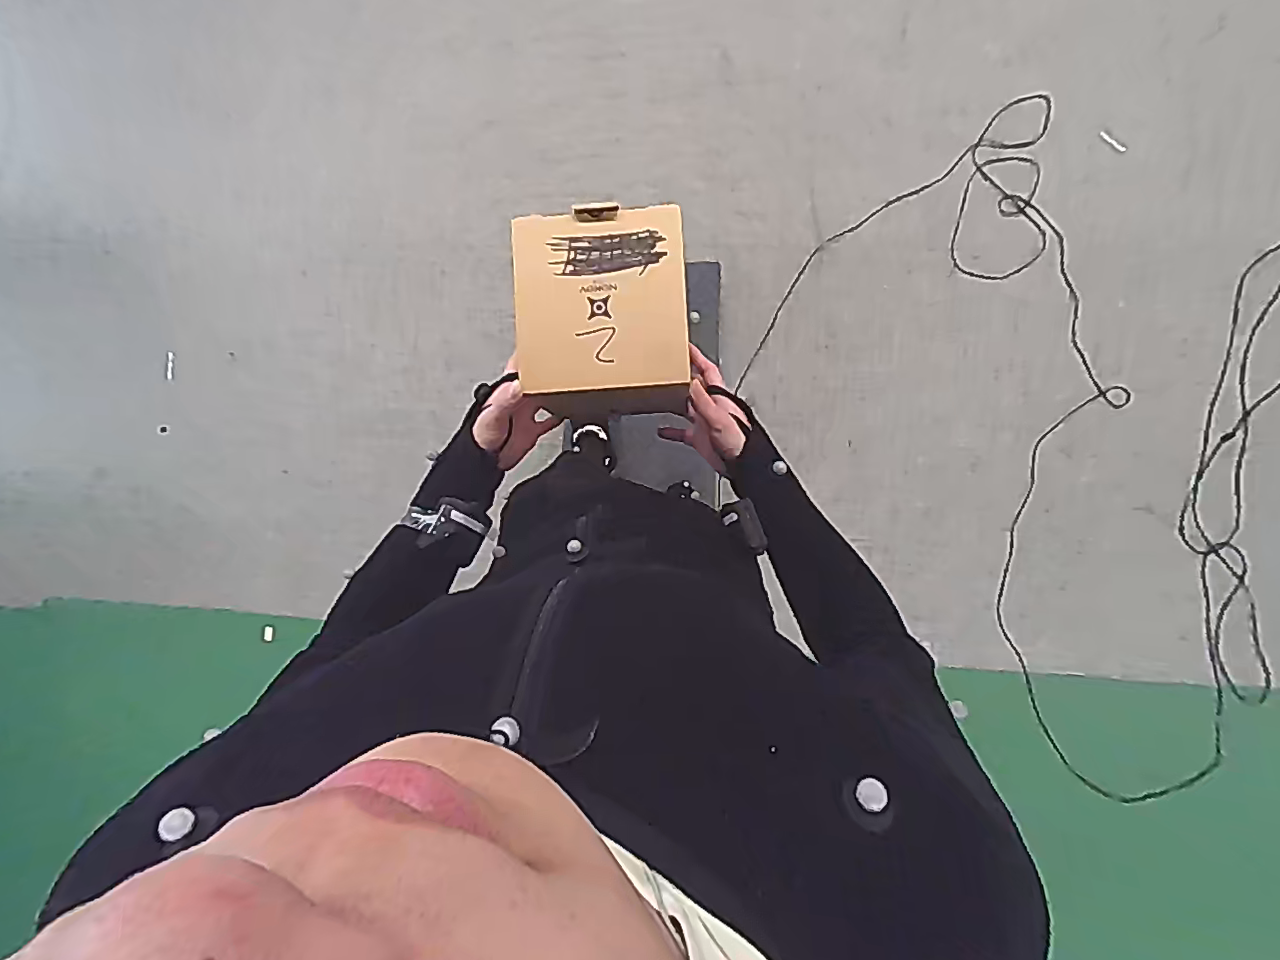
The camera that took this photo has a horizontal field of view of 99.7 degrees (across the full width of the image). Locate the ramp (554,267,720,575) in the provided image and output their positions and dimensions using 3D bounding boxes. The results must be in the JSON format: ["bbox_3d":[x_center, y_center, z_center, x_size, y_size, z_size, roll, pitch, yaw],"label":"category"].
[{"bbox_3d":[-0.001,-0.211,1.712,0.509,0.206,0.991,0,90,6],"label":"ramp"}]
